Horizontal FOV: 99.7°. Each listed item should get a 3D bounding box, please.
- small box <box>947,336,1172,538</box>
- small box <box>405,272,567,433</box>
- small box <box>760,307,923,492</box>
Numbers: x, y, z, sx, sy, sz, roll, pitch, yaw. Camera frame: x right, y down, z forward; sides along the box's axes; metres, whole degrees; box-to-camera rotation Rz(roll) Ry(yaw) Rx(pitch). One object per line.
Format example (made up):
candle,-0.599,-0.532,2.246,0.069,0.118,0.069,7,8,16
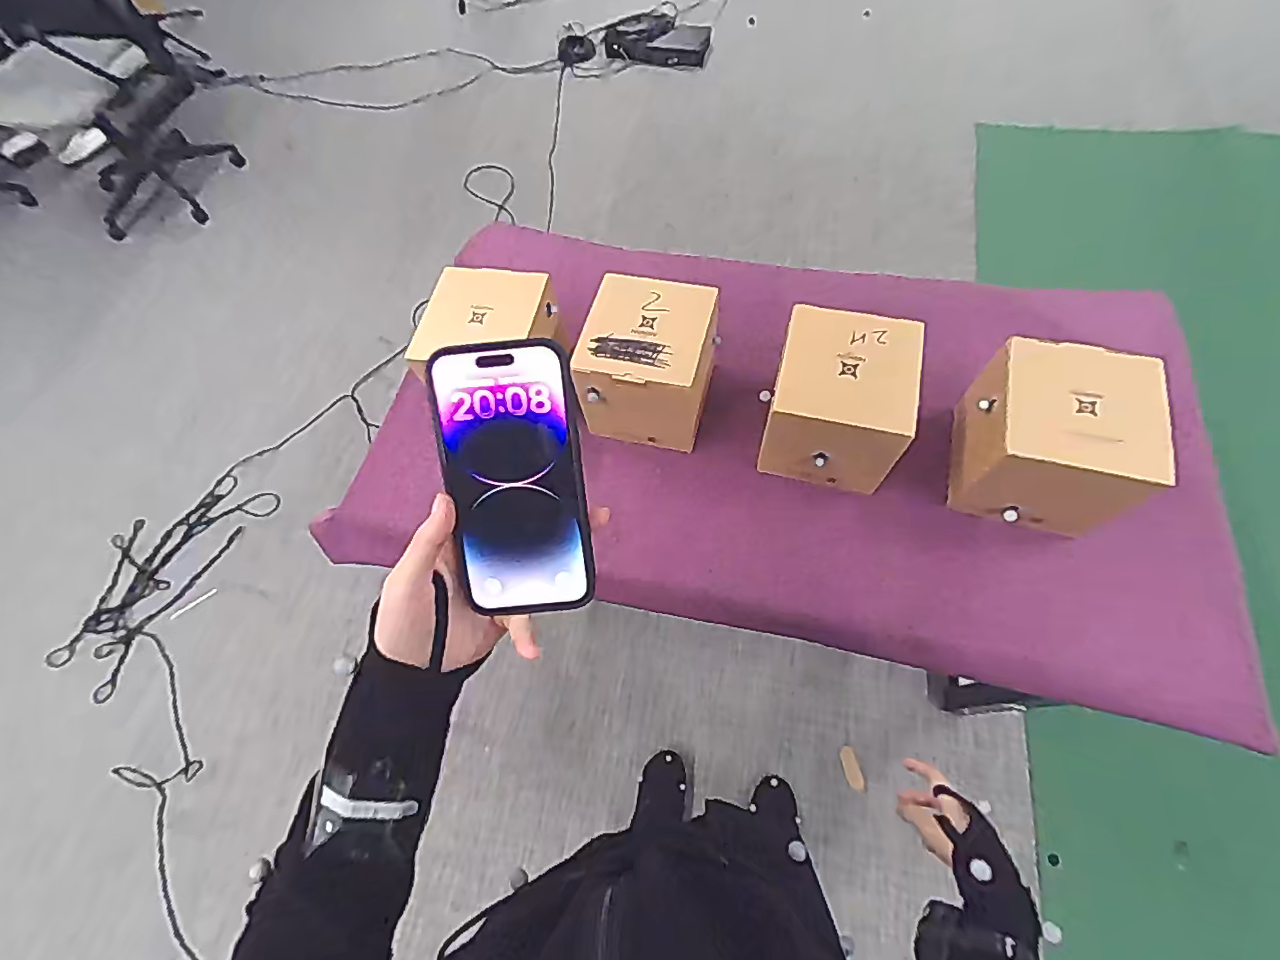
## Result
small box,0.515,-0.049,0.690,0.168,0.176,0.179,14,66,13
small box,-0.220,-0.190,0.831,0.168,0.176,0.179,7,64,9
small box,0.265,-0.103,0.740,0.168,0.176,0.179,13,65,11
